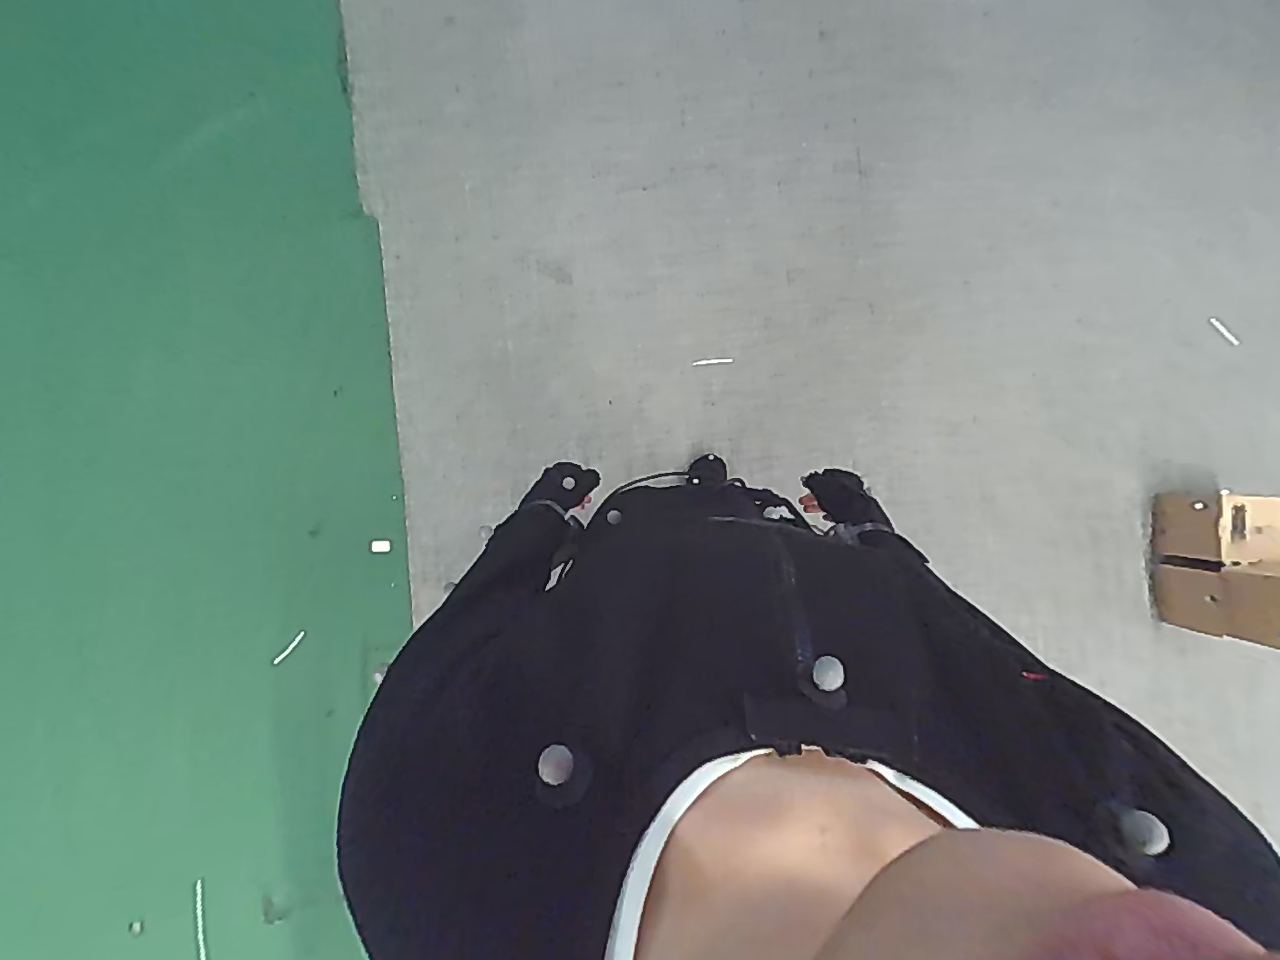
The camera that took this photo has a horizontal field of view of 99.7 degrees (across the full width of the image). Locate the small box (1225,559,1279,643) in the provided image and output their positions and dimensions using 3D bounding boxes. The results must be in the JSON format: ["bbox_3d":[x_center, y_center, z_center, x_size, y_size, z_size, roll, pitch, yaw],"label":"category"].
[{"bbox_3d":[1.504,0.278,1.235,0.168,0.176,0.179,-6,91,0],"label":"small box"}]
